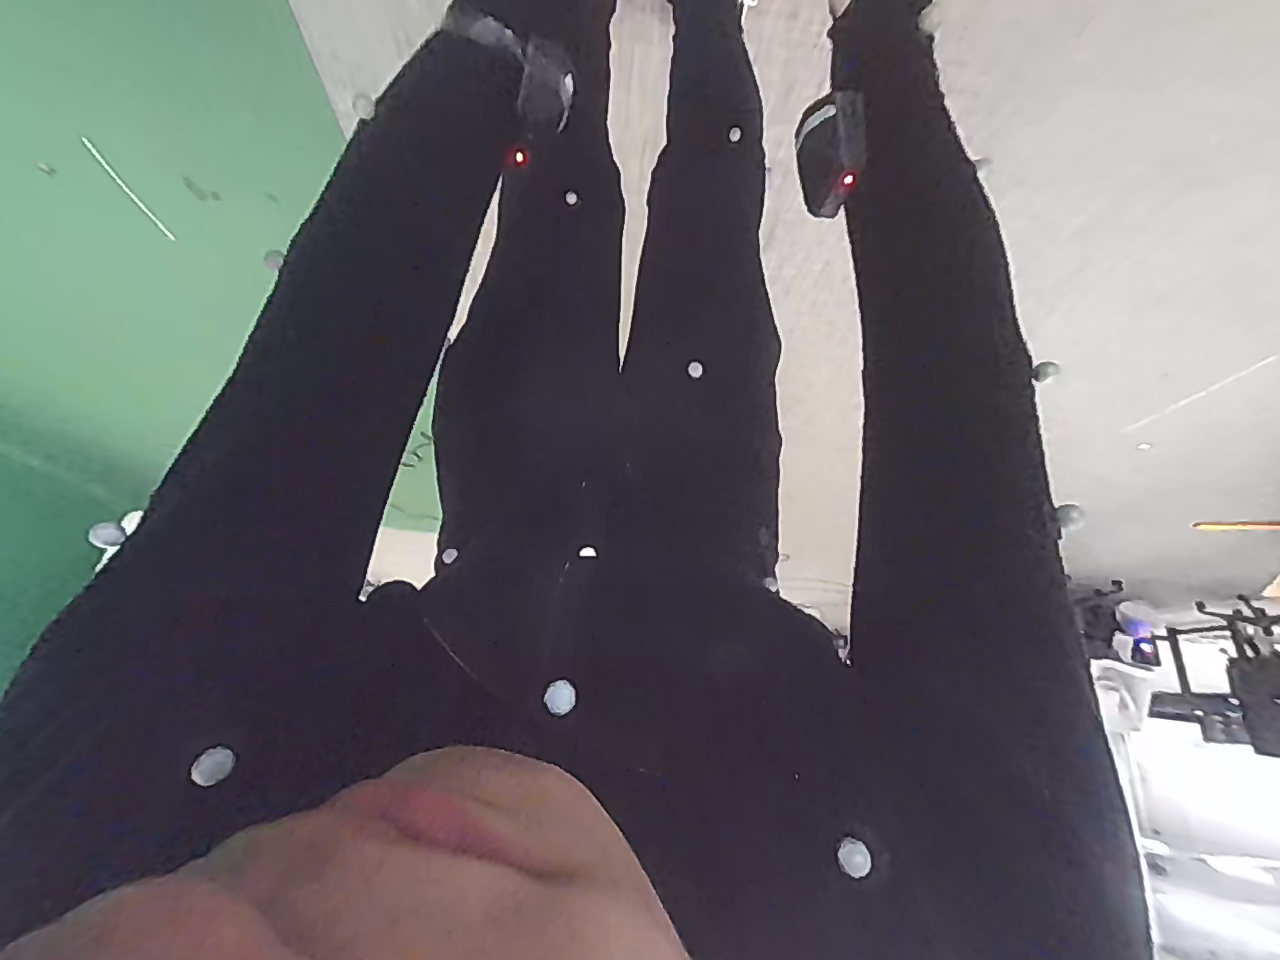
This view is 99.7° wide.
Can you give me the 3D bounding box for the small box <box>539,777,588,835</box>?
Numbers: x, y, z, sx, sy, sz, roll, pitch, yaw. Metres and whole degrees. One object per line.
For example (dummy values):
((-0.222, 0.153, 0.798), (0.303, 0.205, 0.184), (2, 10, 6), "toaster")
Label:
((-0.312, 1.343, 2.234), (0.179, 0.176, 0.168), (8, 159, -2), "small box")
